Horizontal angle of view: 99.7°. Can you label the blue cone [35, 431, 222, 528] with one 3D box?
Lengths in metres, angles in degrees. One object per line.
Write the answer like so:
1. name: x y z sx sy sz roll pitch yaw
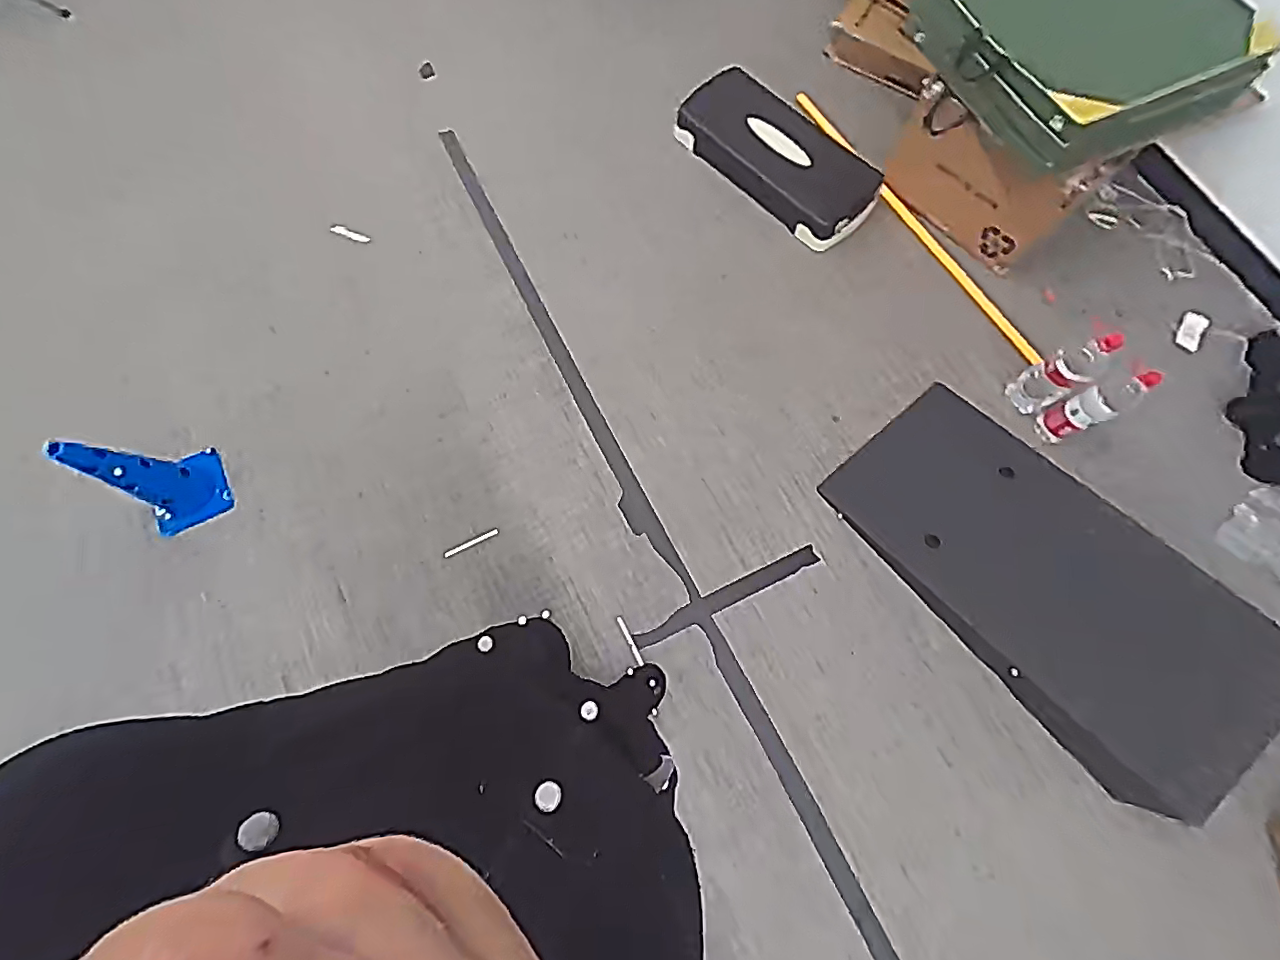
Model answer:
1. blue cone: -1.237 -0.026 1.302 0.193 0.380 0.192 -25 75 -6
